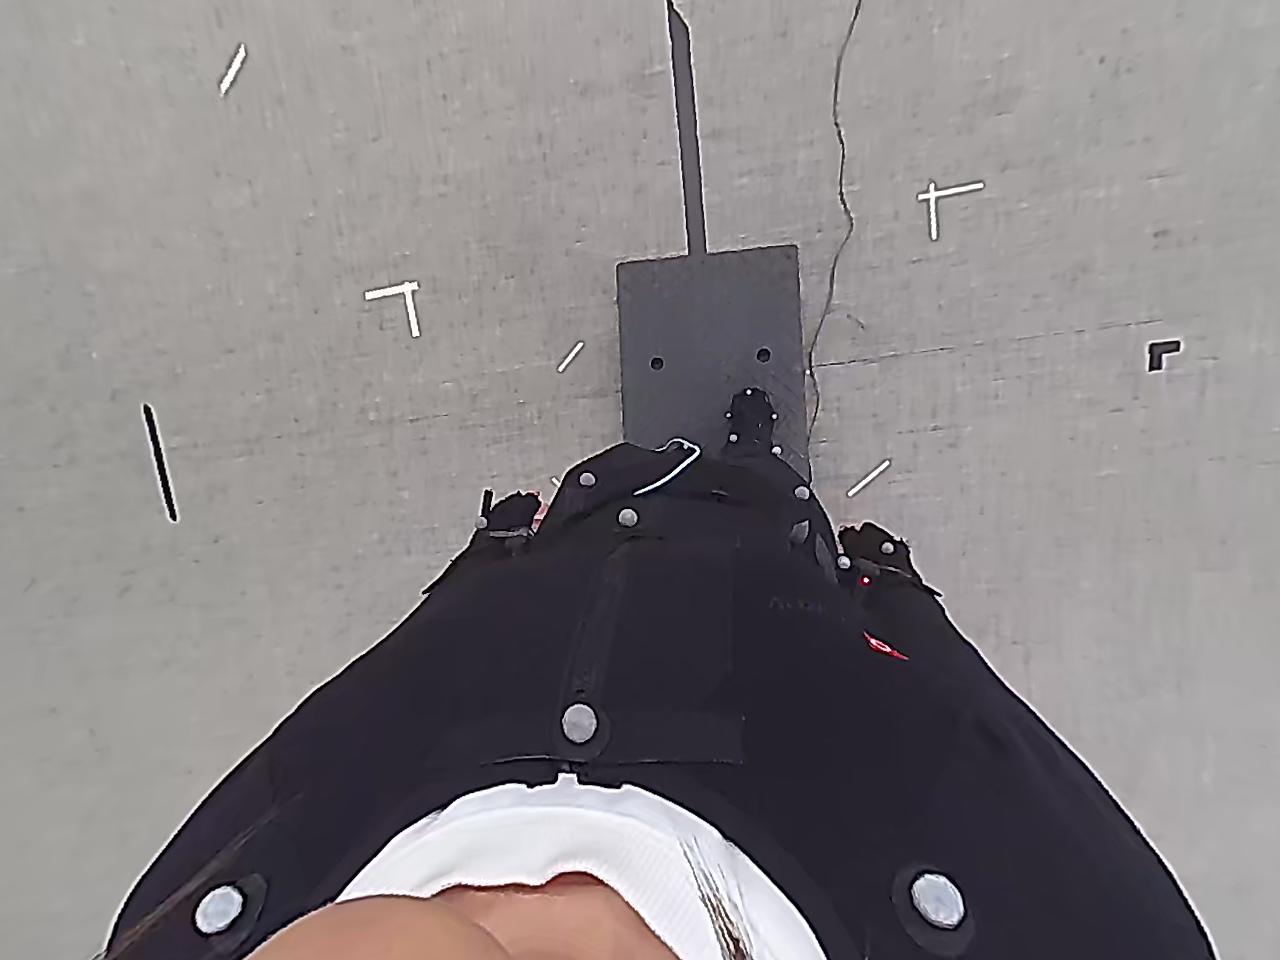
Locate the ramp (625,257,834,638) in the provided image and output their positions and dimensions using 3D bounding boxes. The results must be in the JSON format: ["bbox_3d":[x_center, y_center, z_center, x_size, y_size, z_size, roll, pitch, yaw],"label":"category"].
[{"bbox_3d":[0.223,-0.088,1.455,0.509,0.206,0.991,-6,95,11],"label":"ramp"}]
